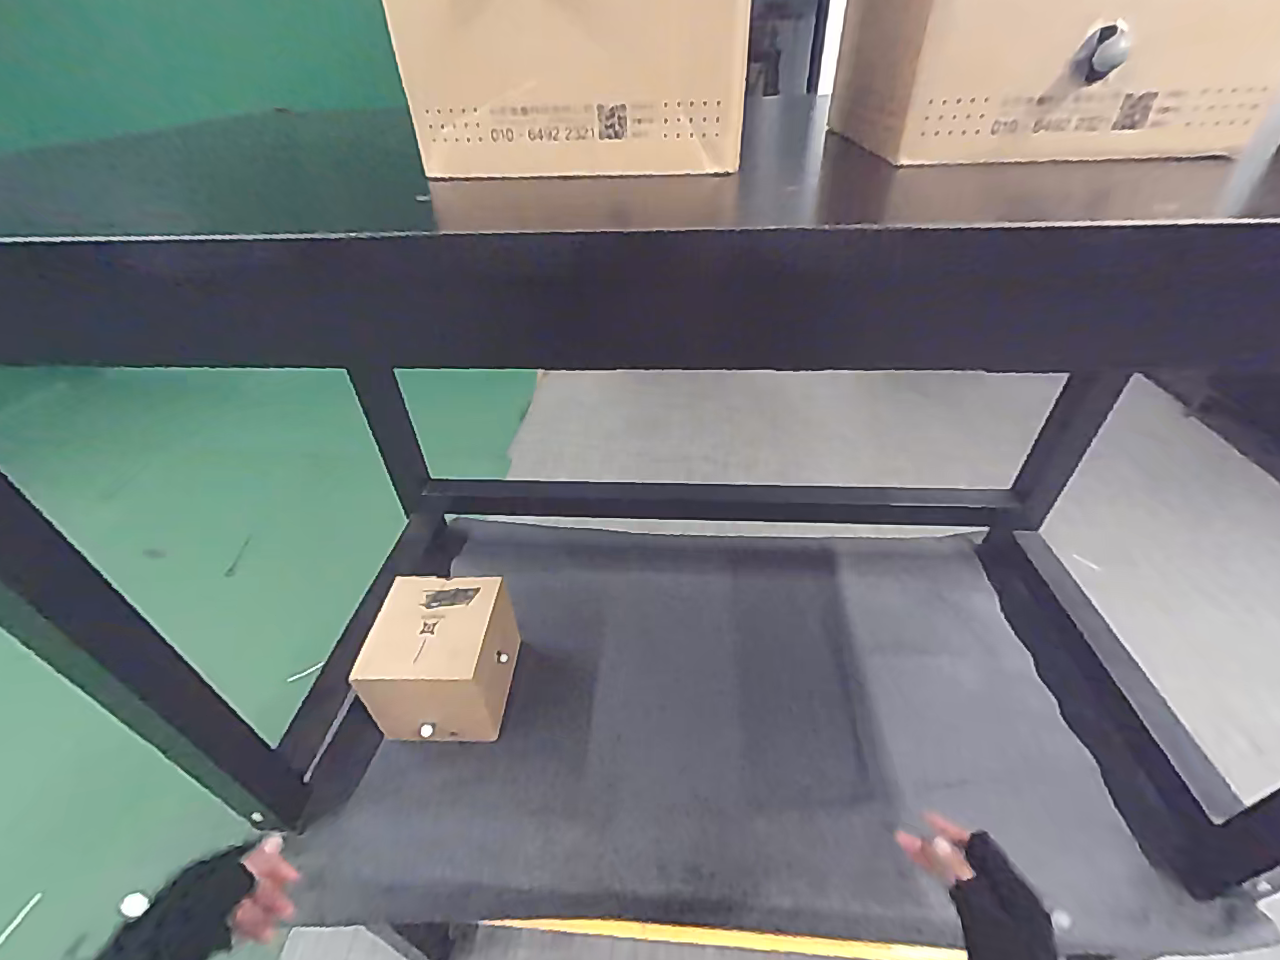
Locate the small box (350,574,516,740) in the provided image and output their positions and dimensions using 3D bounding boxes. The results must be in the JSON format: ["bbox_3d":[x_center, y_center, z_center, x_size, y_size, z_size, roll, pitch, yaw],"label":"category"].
[{"bbox_3d":[-0.292,0.262,0.811,0.168,0.176,0.179,-1,39,3],"label":"small box"}]
